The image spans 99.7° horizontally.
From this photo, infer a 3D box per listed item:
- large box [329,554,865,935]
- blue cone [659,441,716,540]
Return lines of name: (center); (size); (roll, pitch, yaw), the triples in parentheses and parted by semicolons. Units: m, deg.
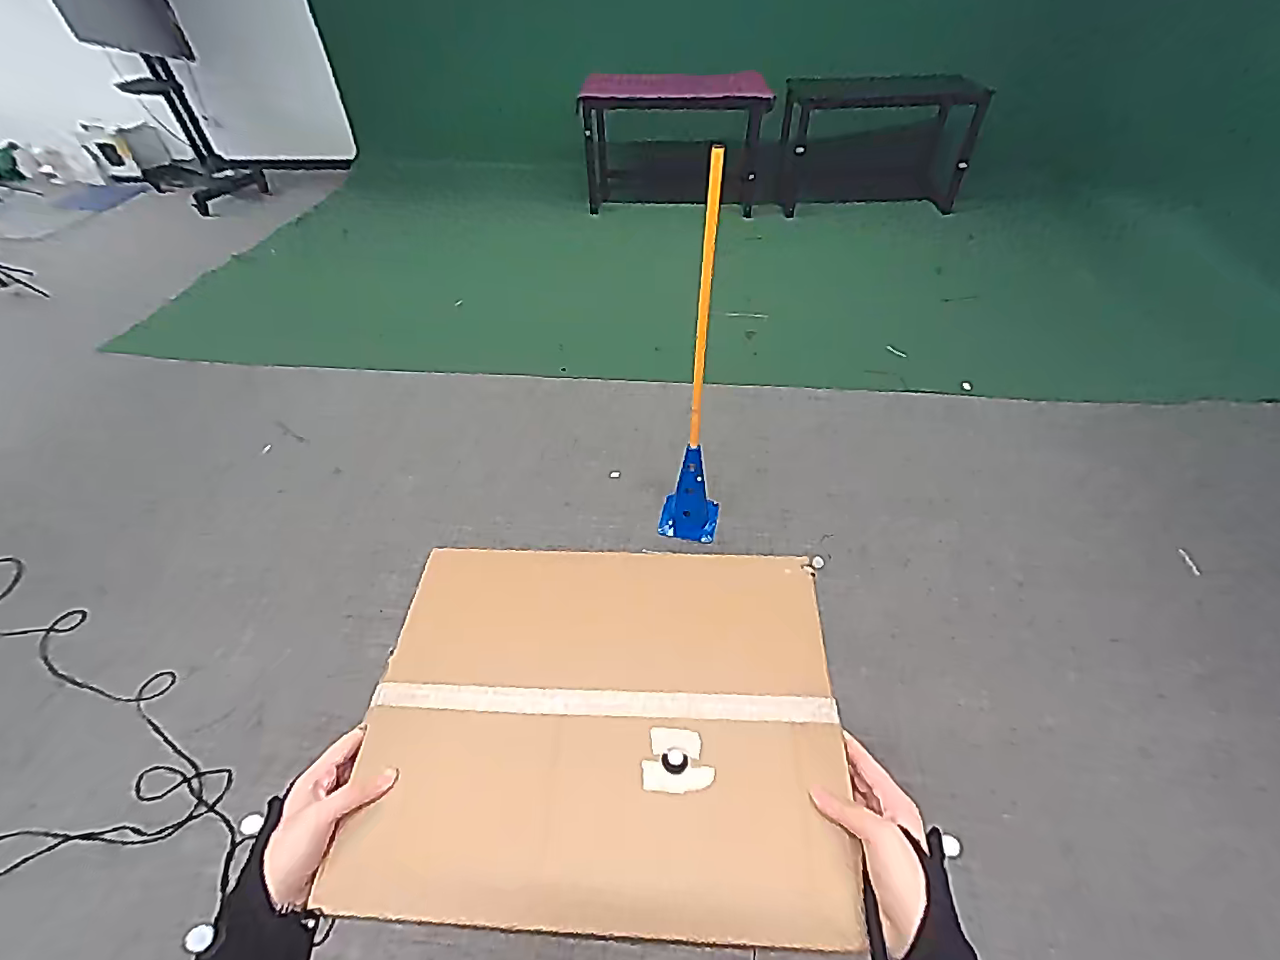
large box: (-0.027, 0.296, 0.601); (0.408, 0.320, 0.320); (1, 50, 3)
blue cone: (0.172, 0.024, 1.863); (0.193, 0.380, 0.192); (10, 46, 11)
